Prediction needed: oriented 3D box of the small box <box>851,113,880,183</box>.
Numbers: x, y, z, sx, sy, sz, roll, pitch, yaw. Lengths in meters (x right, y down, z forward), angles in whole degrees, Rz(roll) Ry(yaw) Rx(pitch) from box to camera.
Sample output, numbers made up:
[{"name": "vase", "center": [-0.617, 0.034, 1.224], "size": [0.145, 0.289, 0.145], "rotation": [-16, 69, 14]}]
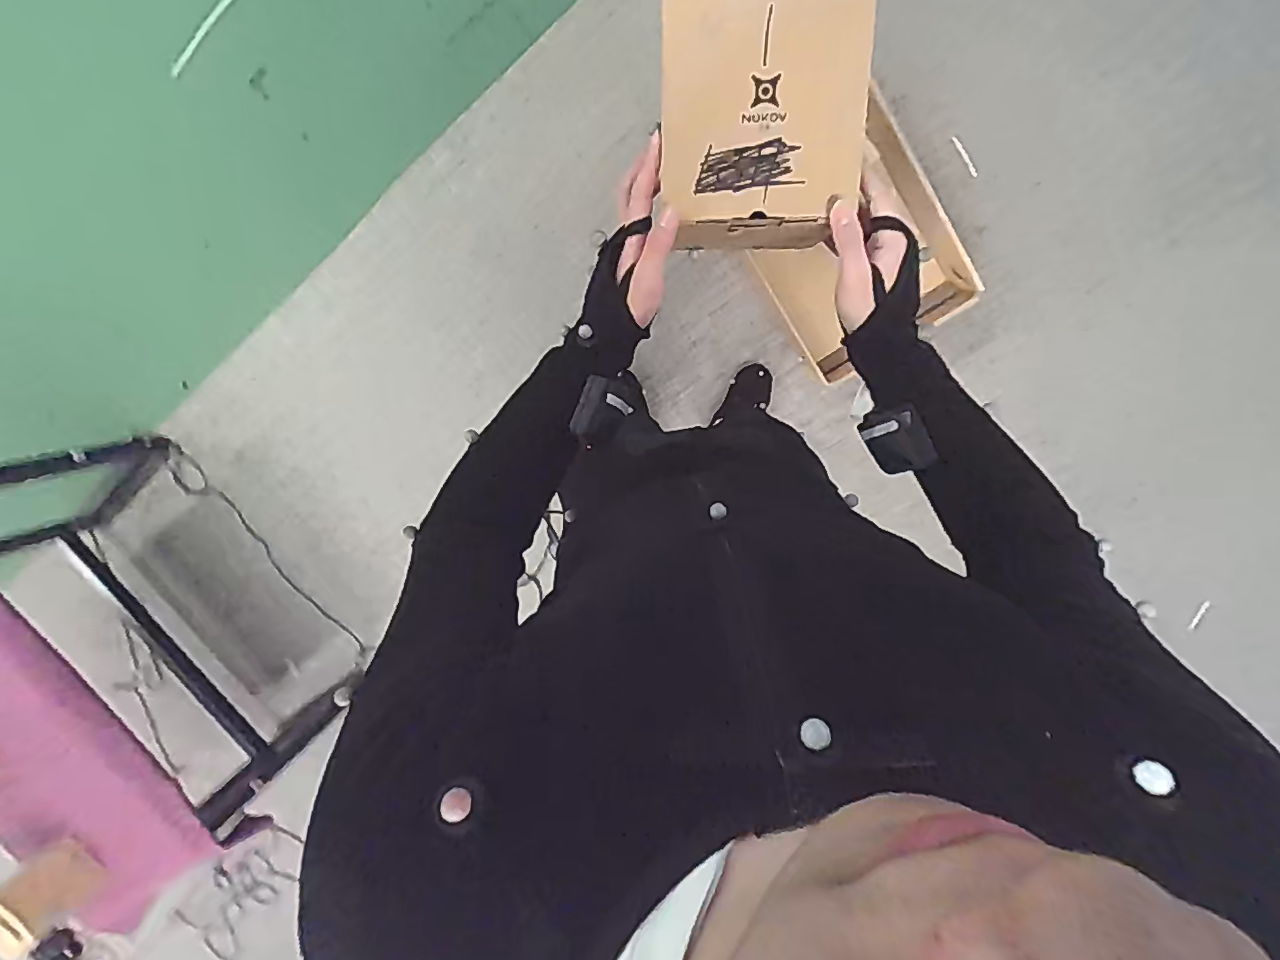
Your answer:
[{"name": "small box", "center": [0.353, -0.659, 1.112], "size": [0.179, 0.176, 0.168], "rotation": [-34, 99, 16]}]

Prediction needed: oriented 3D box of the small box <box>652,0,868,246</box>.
[{"name": "small box", "center": [0.097, -0.322, 0.508], "size": [0.168, 0.176, 0.179], "rotation": [0, 105, 4]}]
